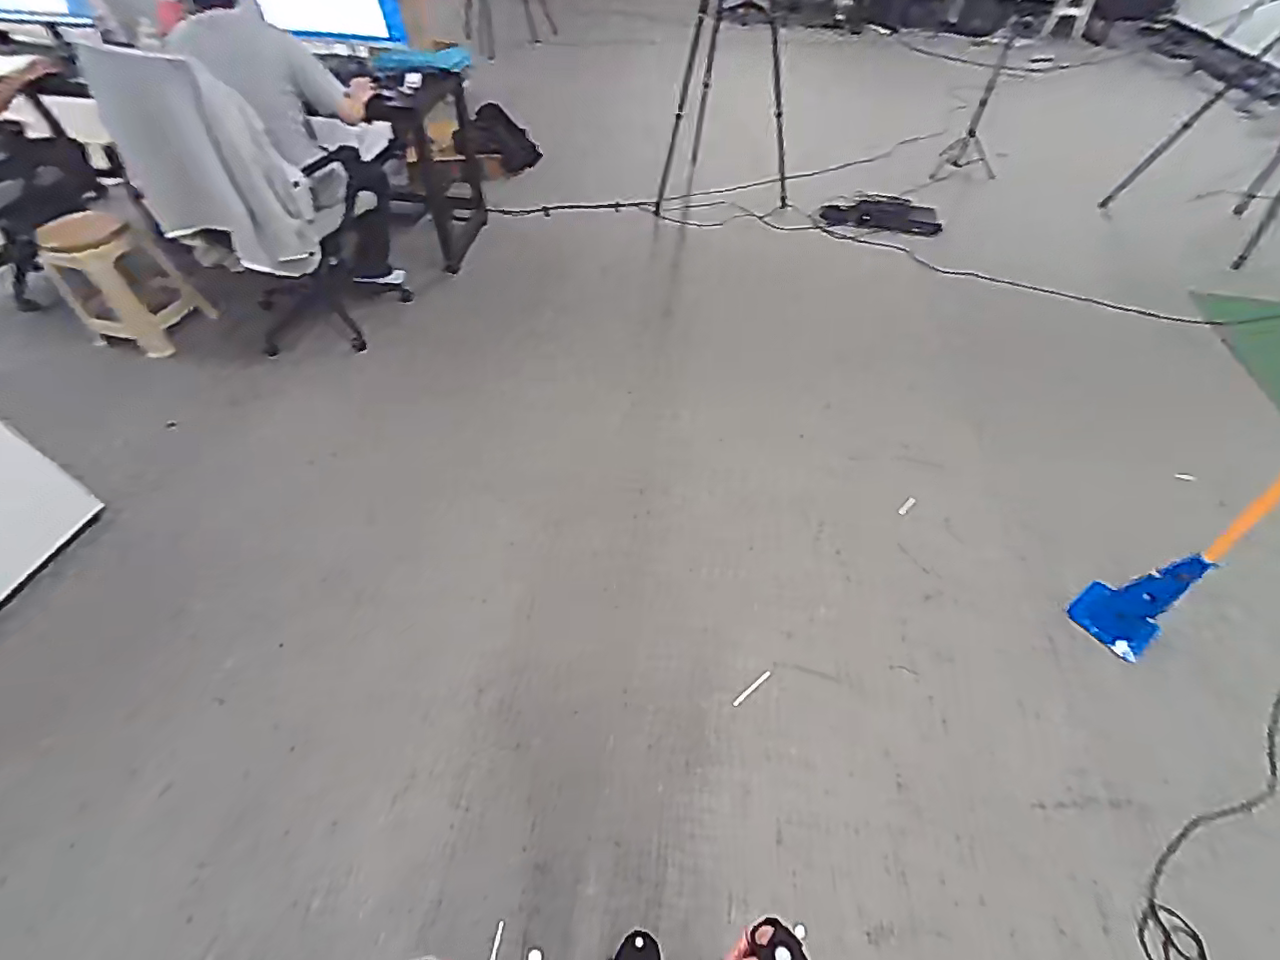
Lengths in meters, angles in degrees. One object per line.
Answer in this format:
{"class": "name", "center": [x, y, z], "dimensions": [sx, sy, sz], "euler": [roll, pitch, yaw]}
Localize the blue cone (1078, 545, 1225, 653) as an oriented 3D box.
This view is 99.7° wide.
{"class": "blue cone", "center": [1.417, 0.297, 1.469], "dimensions": [0.192, 0.380, 0.193], "euler": [-31, 56, -22]}
